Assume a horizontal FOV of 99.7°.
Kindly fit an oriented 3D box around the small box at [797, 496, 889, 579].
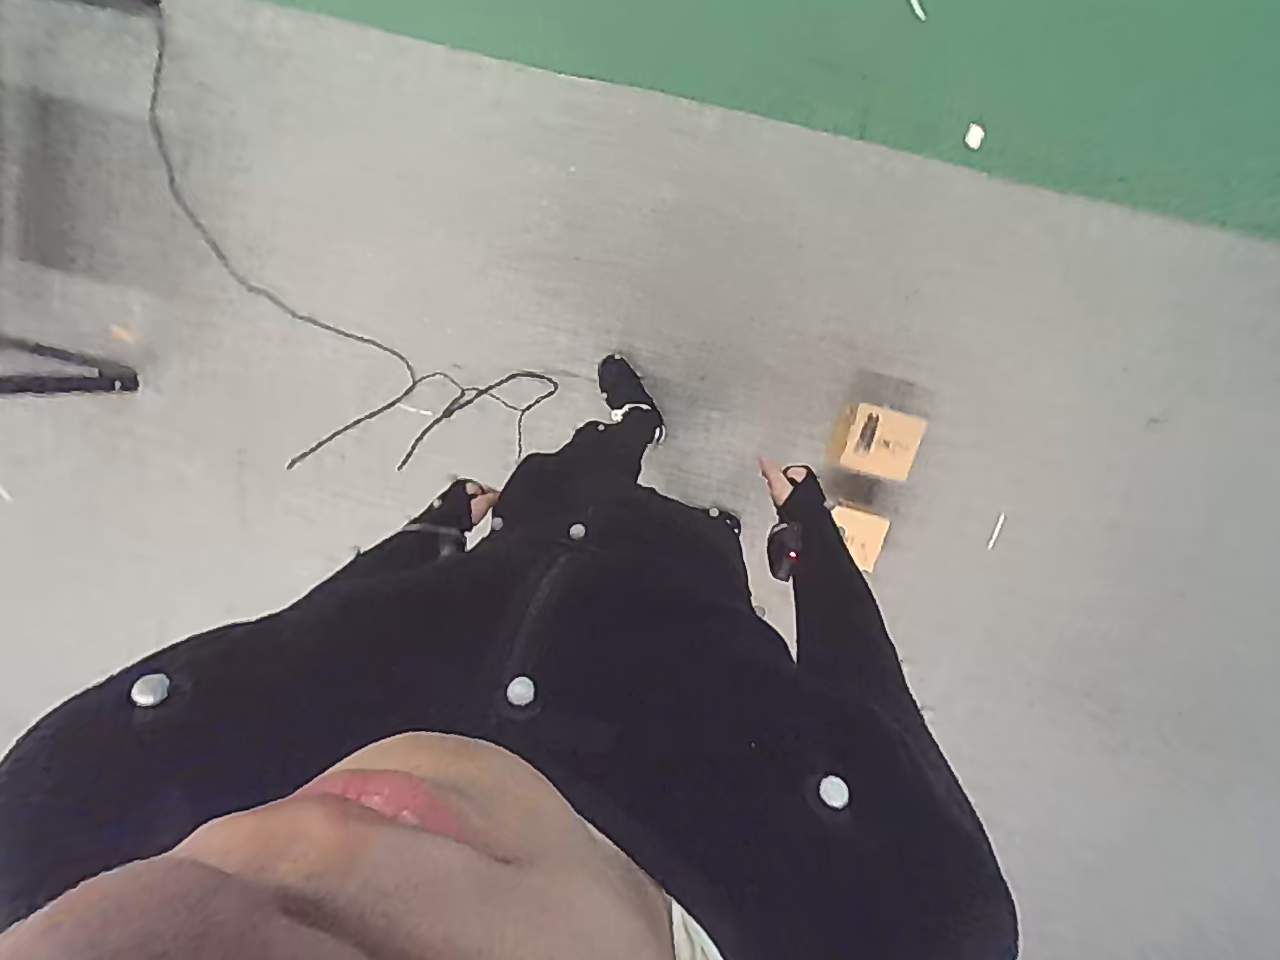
[{"bbox_3d":[0.552,0.150,1.496,0.179,0.176,0.168,16,102,3],"label":"small box"}]
